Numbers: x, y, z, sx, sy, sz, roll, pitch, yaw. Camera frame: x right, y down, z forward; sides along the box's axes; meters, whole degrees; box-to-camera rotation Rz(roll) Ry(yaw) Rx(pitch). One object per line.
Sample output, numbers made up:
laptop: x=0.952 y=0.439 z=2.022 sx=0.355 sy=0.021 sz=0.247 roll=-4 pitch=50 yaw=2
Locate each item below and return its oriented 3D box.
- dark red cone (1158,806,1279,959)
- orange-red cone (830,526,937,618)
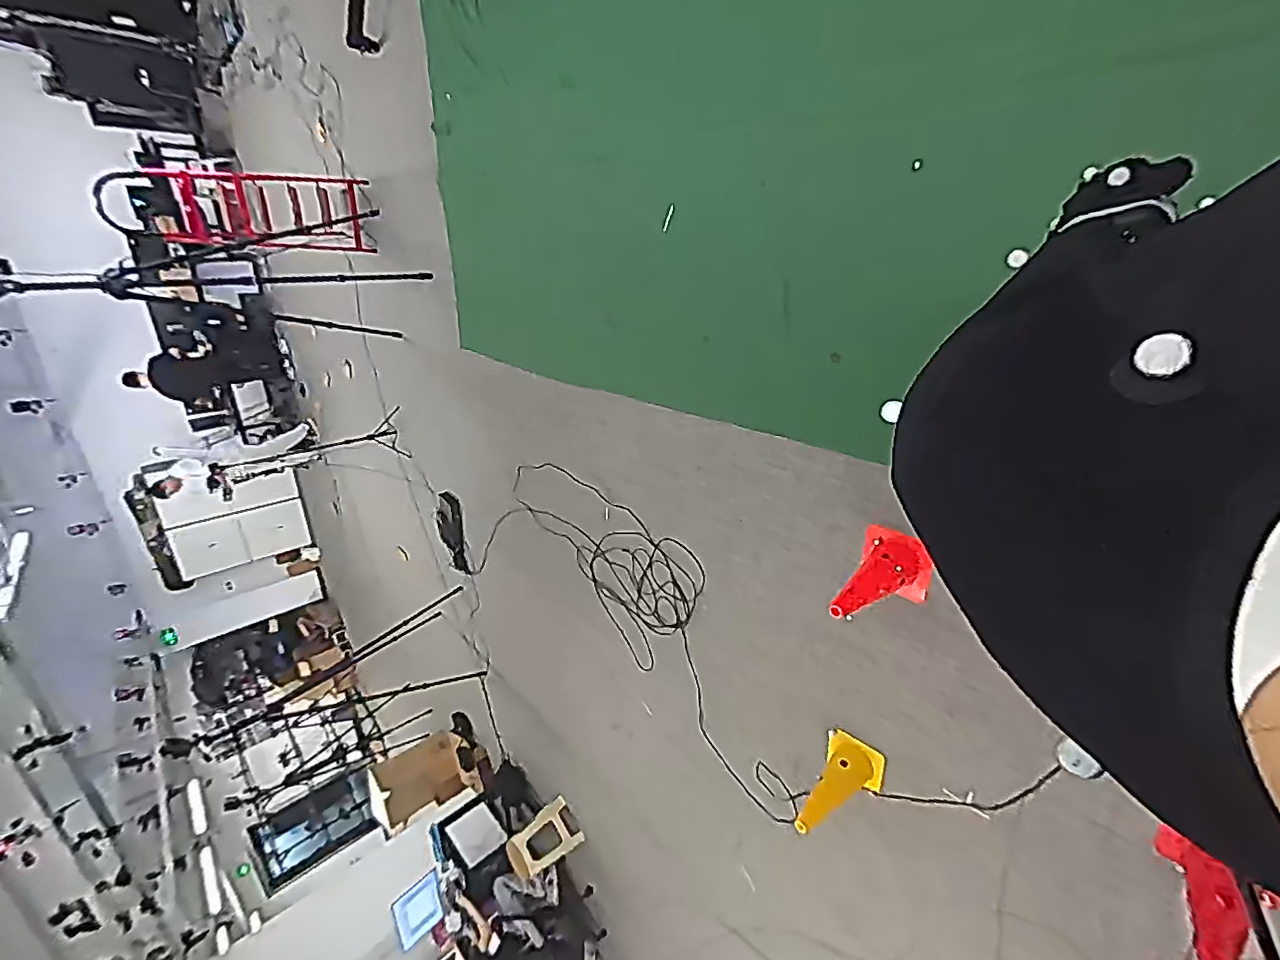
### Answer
dark red cone: x=1.171 y=0.883 z=1.089 sx=0.202 sy=0.394 sz=0.201 roll=16 pitch=116 yaw=45
orange-red cone: x=0.640 y=0.296 z=1.502 sx=0.198 sy=0.360 sz=0.199 roll=24 pitch=123 yaw=43
